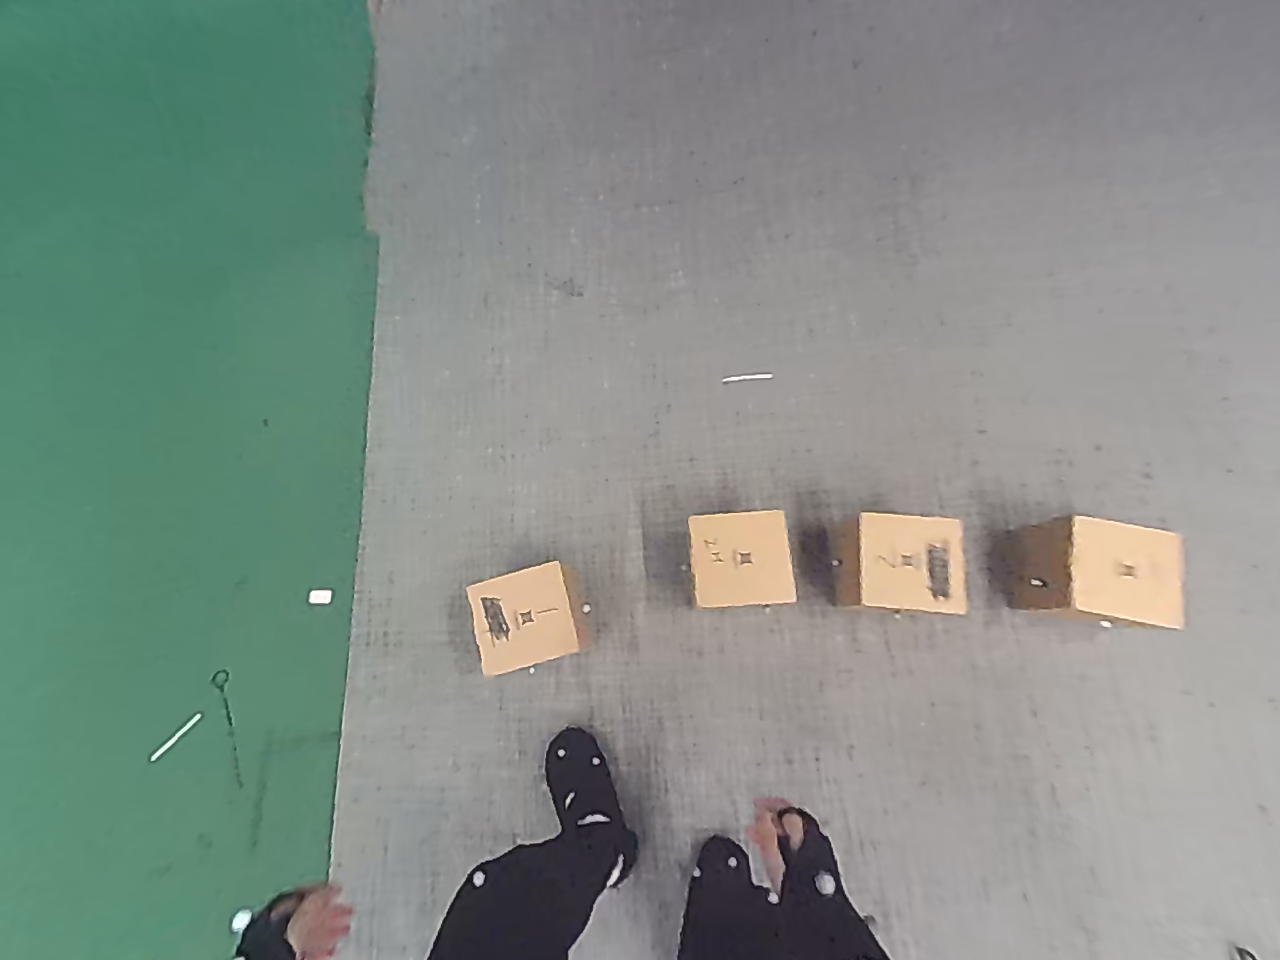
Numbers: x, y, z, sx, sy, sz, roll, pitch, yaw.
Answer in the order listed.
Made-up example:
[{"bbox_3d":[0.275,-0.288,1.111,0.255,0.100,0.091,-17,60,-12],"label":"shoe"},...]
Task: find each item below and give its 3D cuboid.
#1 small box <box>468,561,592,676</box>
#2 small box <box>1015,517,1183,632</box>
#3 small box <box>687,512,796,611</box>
[{"bbox_3d":[-0.202,0.264,1.028,0.179,0.176,0.168,-16,75,-1],"label":"small box"},{"bbox_3d":[0.822,0.177,0.985,0.179,0.176,0.168,12,77,6],"label":"small box"},{"bbox_3d":[0.184,0.160,1.030,0.179,0.176,0.168,-4,74,3],"label":"small box"}]
